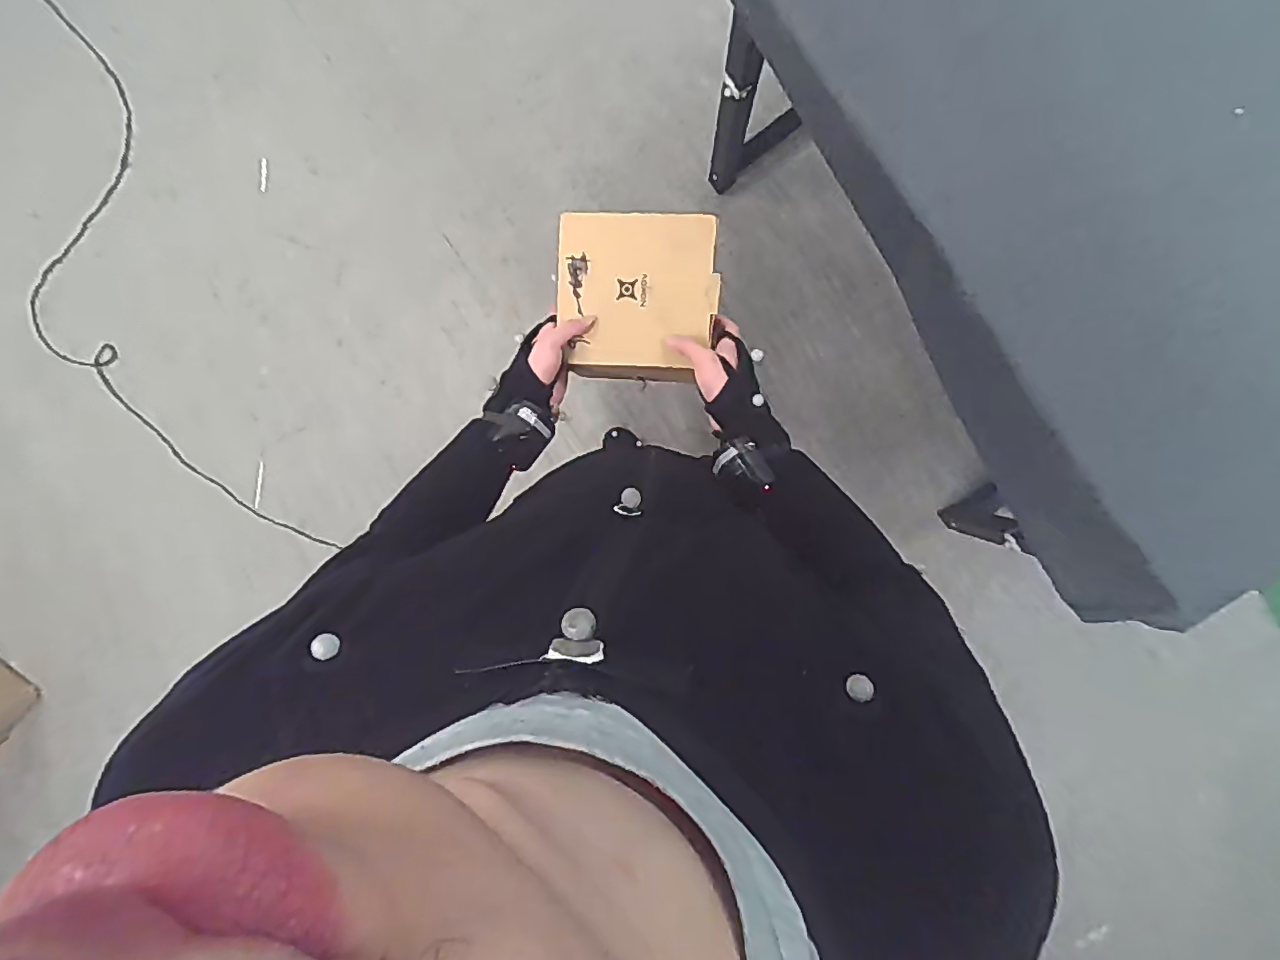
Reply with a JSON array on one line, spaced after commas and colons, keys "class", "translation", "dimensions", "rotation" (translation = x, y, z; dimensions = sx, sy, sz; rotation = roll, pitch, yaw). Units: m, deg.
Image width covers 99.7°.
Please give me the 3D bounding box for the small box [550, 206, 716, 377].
[{"class": "small box", "translation": [-0.004, -0.220, 0.668], "dimensions": [0.179, 0.176, 0.168], "rotation": [4, 96, 4]}]
